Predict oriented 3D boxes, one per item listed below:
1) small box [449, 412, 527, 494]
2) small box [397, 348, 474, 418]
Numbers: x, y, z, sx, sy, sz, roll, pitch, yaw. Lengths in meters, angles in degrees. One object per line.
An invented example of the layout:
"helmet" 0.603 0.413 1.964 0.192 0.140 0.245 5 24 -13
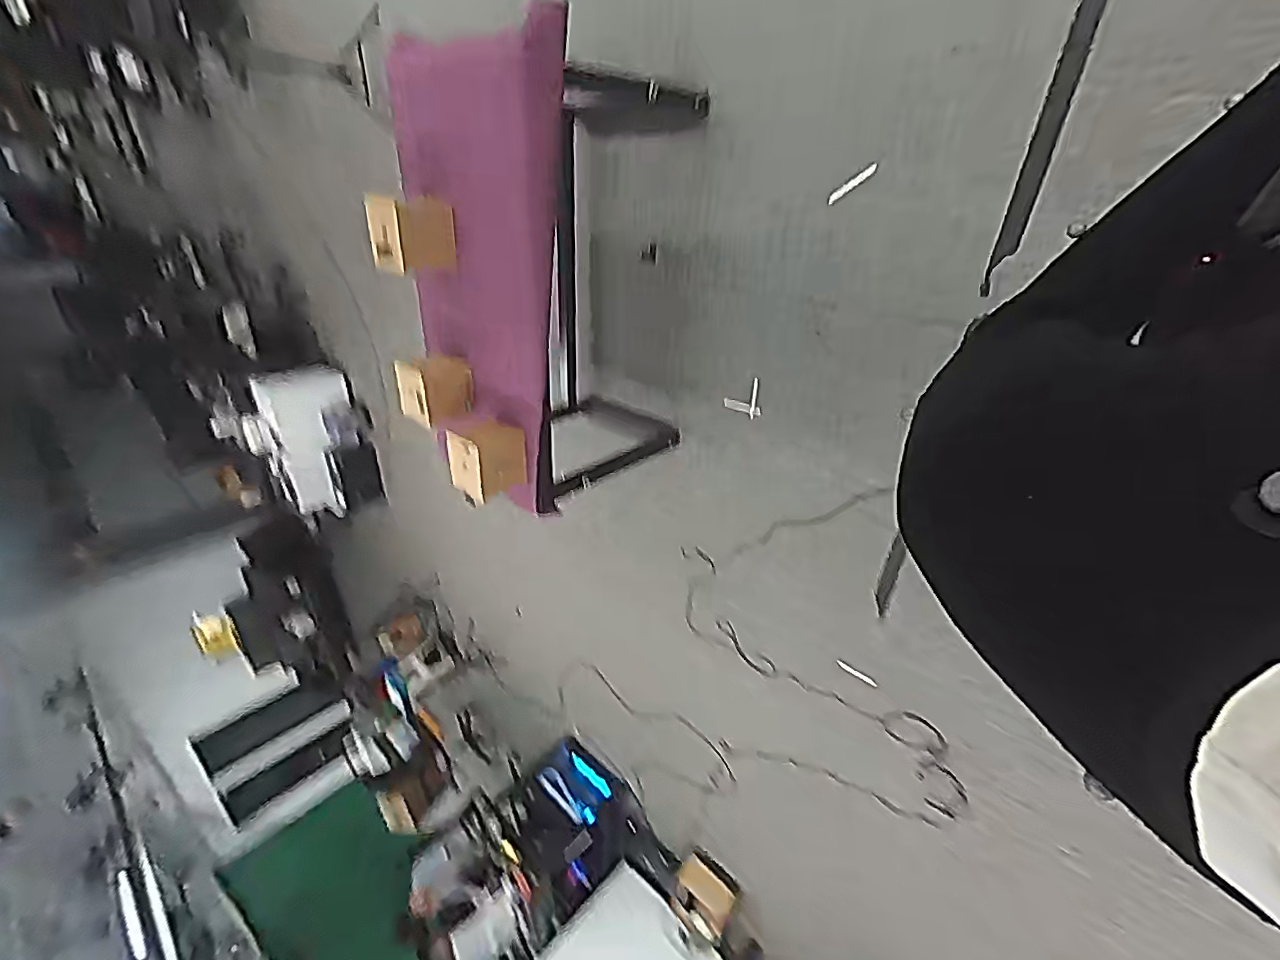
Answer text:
"small box" -0.461 -0.089 1.662 0.168 0.176 0.179 26 127 34
"small box" -0.648 -0.317 1.739 0.179 0.176 0.168 25 126 35
